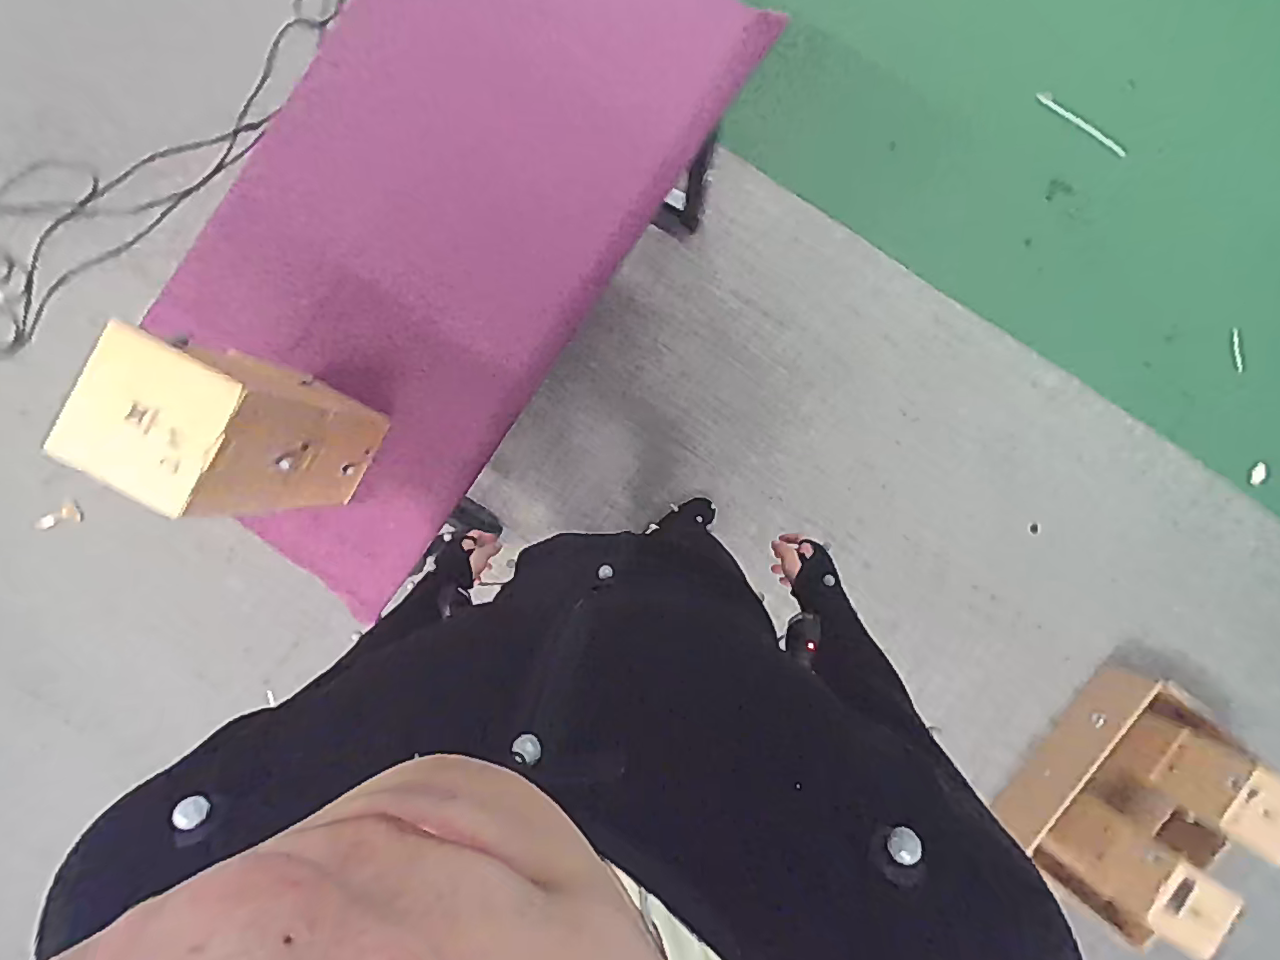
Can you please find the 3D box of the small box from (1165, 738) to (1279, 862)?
[{"bbox_3d":[1.435,0.755,1.286,0.179,0.176,0.168,36,88,0],"label":"small box"}]

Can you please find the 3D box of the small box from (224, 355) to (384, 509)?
[{"bbox_3d":[-0.543,-0.065,0.839,0.179,0.176,0.168,28,89,1],"label":"small box"}]

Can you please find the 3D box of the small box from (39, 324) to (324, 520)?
[{"bbox_3d":[-0.549,-0.062,0.674,0.179,0.176,0.168,27,90,1],"label":"small box"}]
